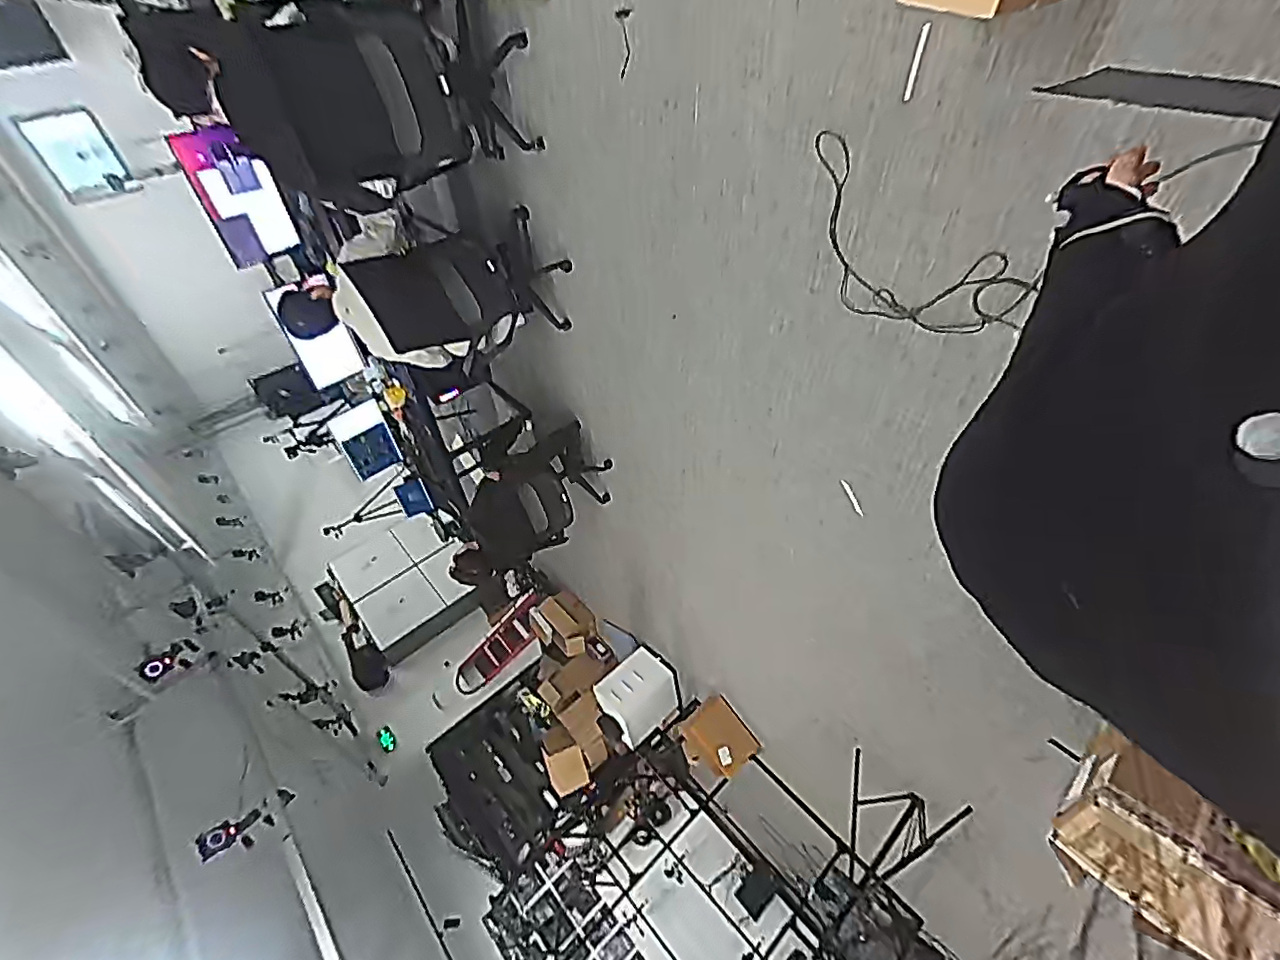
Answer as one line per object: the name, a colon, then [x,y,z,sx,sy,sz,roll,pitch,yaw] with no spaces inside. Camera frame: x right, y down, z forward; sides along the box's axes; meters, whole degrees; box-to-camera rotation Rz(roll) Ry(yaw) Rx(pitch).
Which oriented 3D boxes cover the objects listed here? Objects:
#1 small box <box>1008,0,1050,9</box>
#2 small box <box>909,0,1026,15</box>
small box: [0.683,-0.956,0.946,0.168,0.176,0.179,37,148,32]
small box: [0.560,-0.878,0.870,0.179,0.176,0.168,39,150,27]
